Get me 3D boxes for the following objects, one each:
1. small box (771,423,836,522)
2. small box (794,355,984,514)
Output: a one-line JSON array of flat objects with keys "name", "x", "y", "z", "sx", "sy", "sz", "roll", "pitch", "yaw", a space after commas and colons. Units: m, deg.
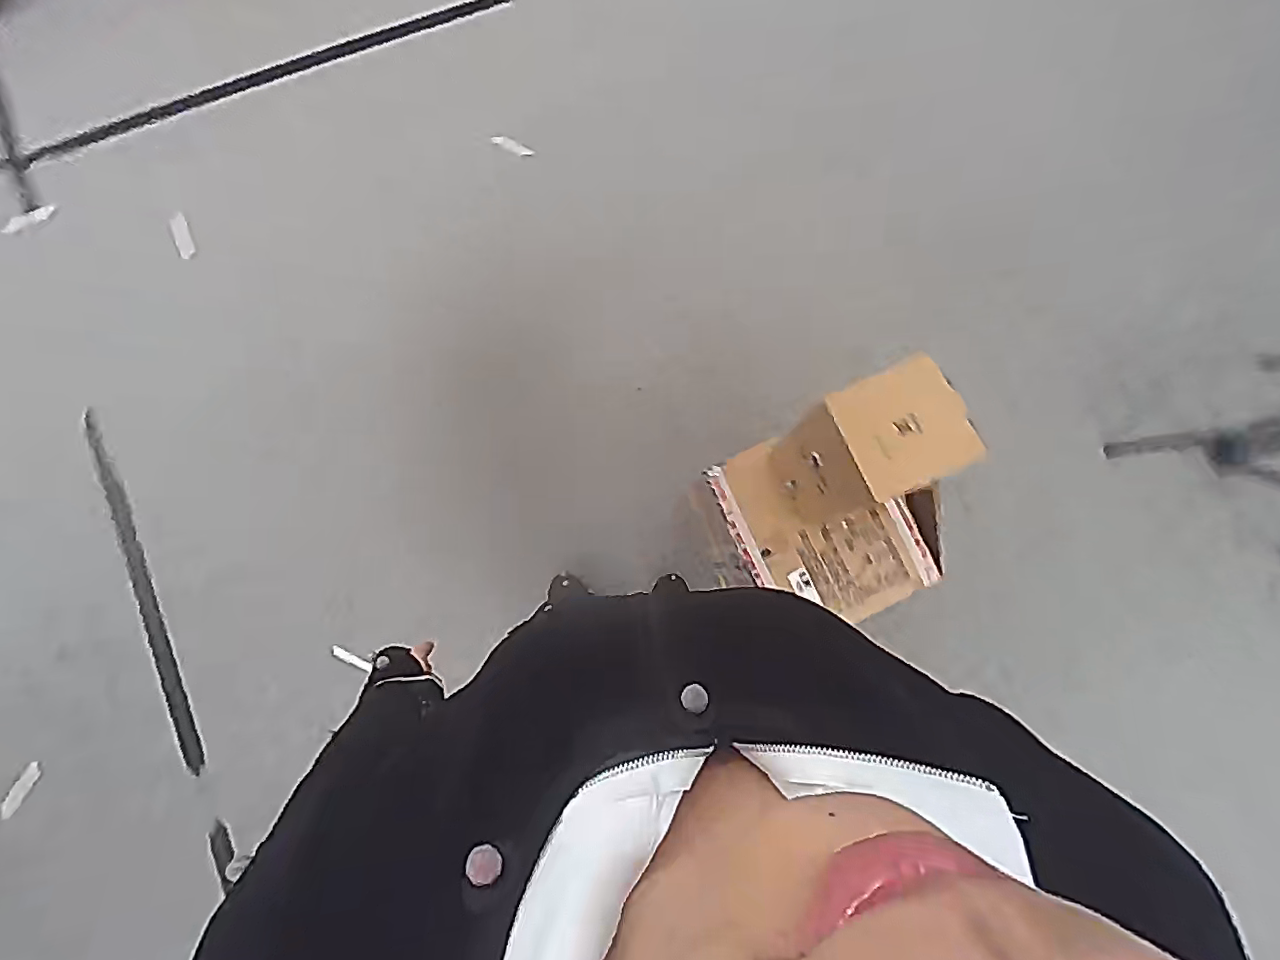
[{"name": "small box", "x": 0.365, "y": -0.034, "z": 0.988, "sx": 0.179, "sy": 0.176, "sz": 0.168, "roll": -23, "pitch": 80, "yaw": -3}, {"name": "small box", "x": 0.365, "y": -0.060, "z": 0.827, "sx": 0.179, "sy": 0.176, "sz": 0.168, "roll": -23, "pitch": 80, "yaw": -3}]
